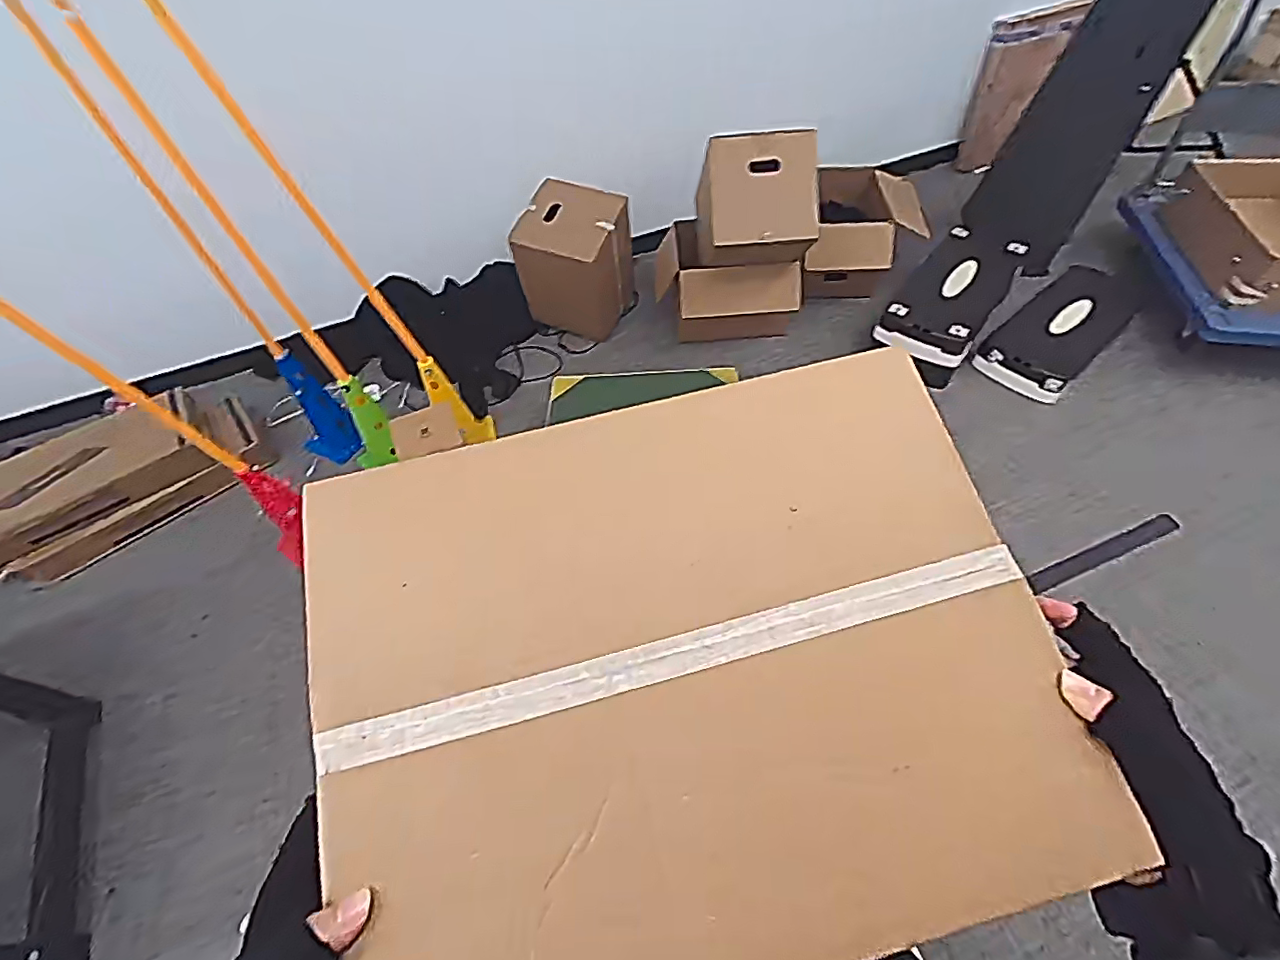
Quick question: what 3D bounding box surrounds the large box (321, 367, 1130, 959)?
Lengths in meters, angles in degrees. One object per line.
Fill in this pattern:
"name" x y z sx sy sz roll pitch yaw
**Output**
"large box" 0.030 0.157 0.451 0.408 0.320 0.320 -14 70 -4
